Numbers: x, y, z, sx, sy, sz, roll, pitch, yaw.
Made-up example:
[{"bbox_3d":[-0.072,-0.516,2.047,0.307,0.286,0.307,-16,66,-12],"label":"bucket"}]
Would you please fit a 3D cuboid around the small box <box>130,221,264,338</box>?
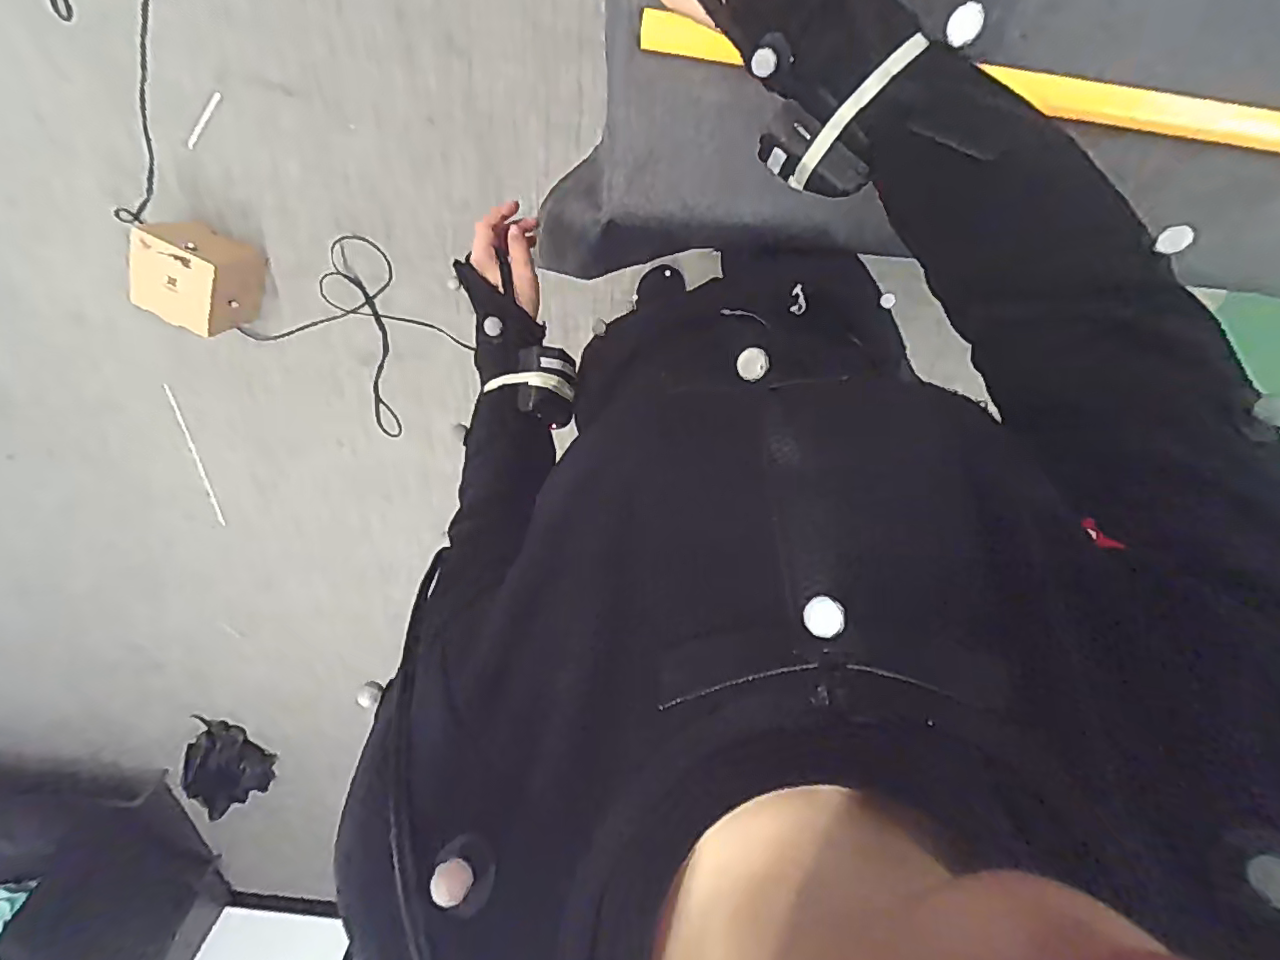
[{"bbox_3d":[-0.983,-0.453,1.211,0.168,0.176,0.179,26,119,-11],"label":"small box"}]
